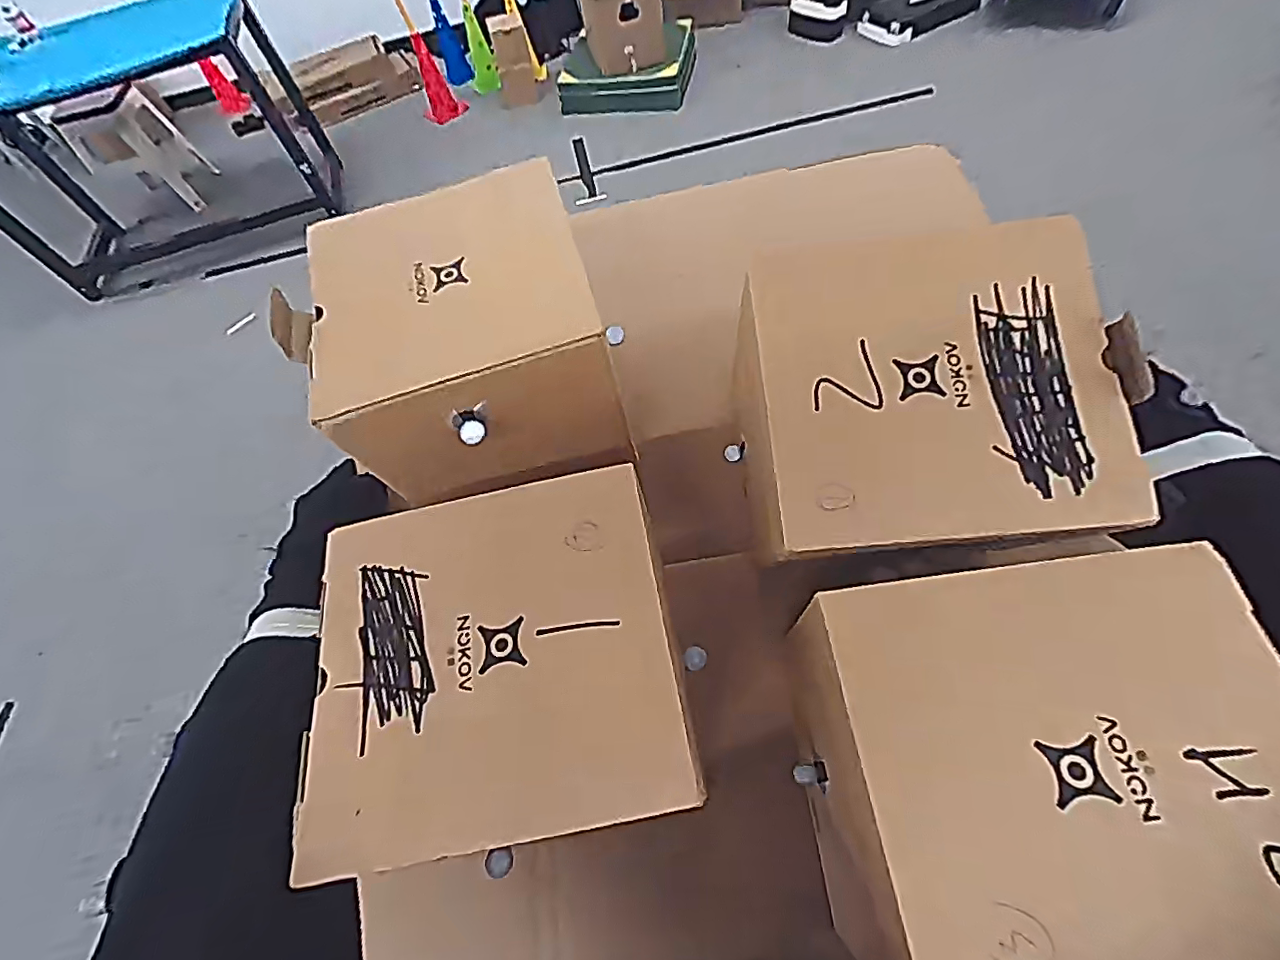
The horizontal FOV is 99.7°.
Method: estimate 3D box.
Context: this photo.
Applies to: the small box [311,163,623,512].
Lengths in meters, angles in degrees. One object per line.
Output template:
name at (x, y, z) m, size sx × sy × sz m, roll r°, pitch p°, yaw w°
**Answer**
small box at (-0.117, -0.096, 0.419) m, size 0.179 × 0.176 × 0.168 m, roll -18°, pitch 64°, yaw 0°
